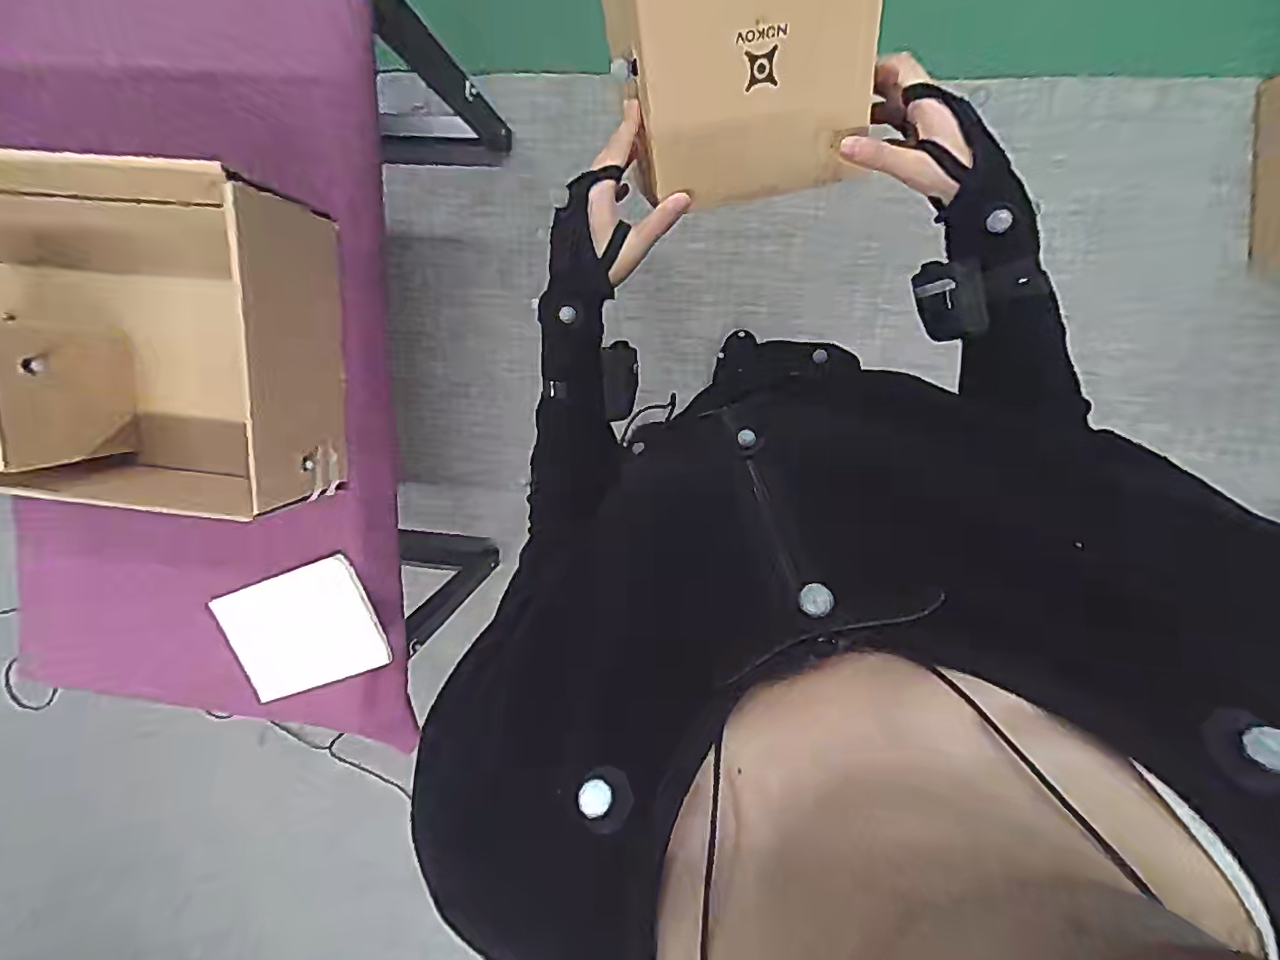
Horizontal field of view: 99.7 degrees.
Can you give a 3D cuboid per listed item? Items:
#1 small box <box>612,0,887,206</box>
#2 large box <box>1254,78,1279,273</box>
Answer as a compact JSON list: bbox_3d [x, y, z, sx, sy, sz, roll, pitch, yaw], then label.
[{"bbox_3d":[0.073,-0.339,0.425,0.168,0.176,0.179,-12,128,-2],"label":"small box"},{"bbox_3d":[1.531,-0.671,1.063,0.320,0.320,0.408,-10,99,7],"label":"large box"}]
